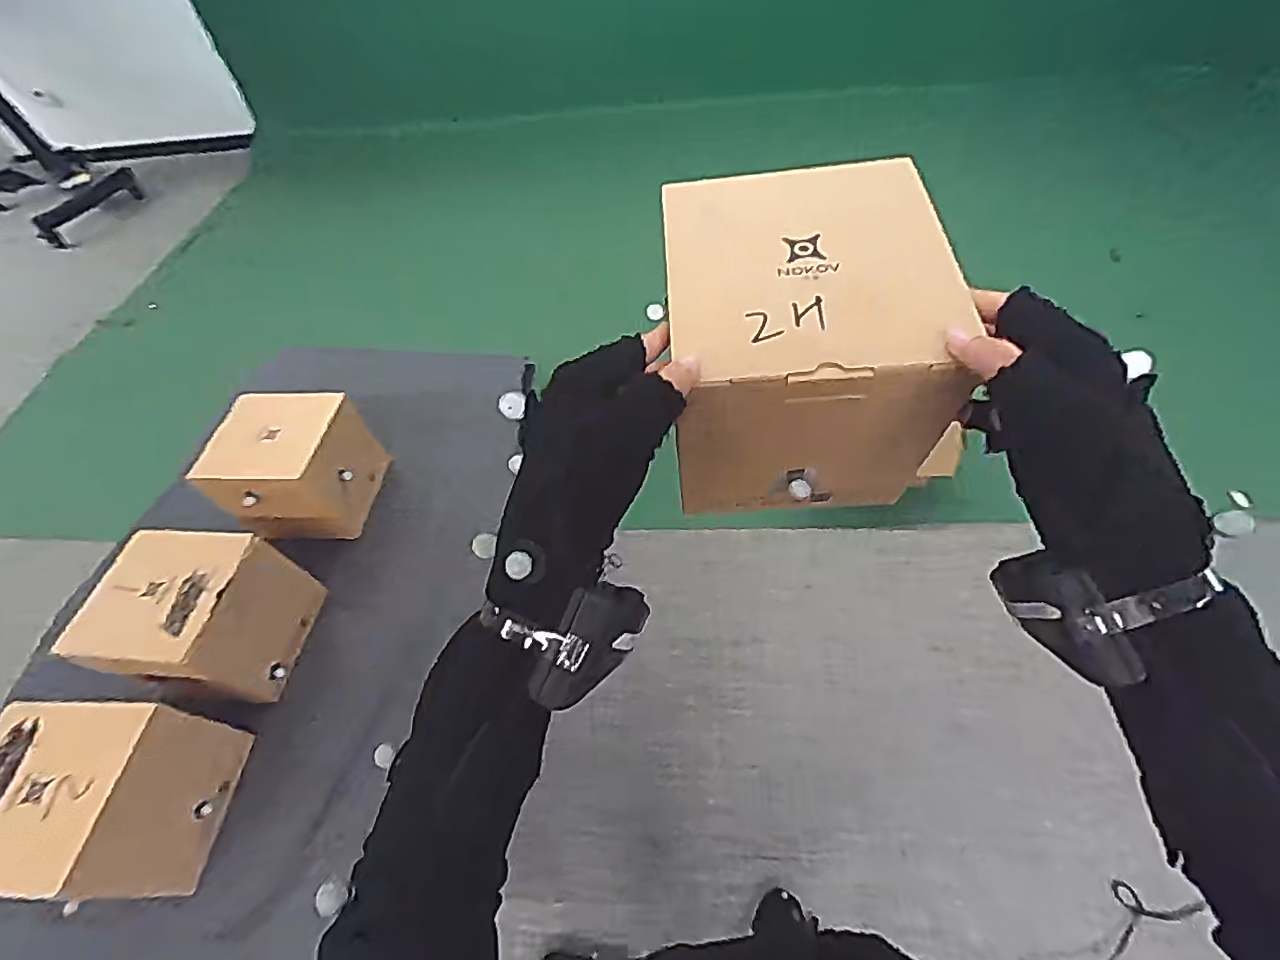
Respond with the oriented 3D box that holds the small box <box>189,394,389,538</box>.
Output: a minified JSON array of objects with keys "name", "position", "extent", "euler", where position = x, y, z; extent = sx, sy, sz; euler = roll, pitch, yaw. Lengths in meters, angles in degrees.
[{"name":"small box","position":[-0.534,-0.018,0.856],"extent":[0.179,0.176,0.168],"euler":[0,55,7]}]

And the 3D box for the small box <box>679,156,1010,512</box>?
[{"name":"small box","position":[0.113,-0.093,0.387],"extent":[0.168,0.176,0.179],"euler":[-3,61,6]}]
